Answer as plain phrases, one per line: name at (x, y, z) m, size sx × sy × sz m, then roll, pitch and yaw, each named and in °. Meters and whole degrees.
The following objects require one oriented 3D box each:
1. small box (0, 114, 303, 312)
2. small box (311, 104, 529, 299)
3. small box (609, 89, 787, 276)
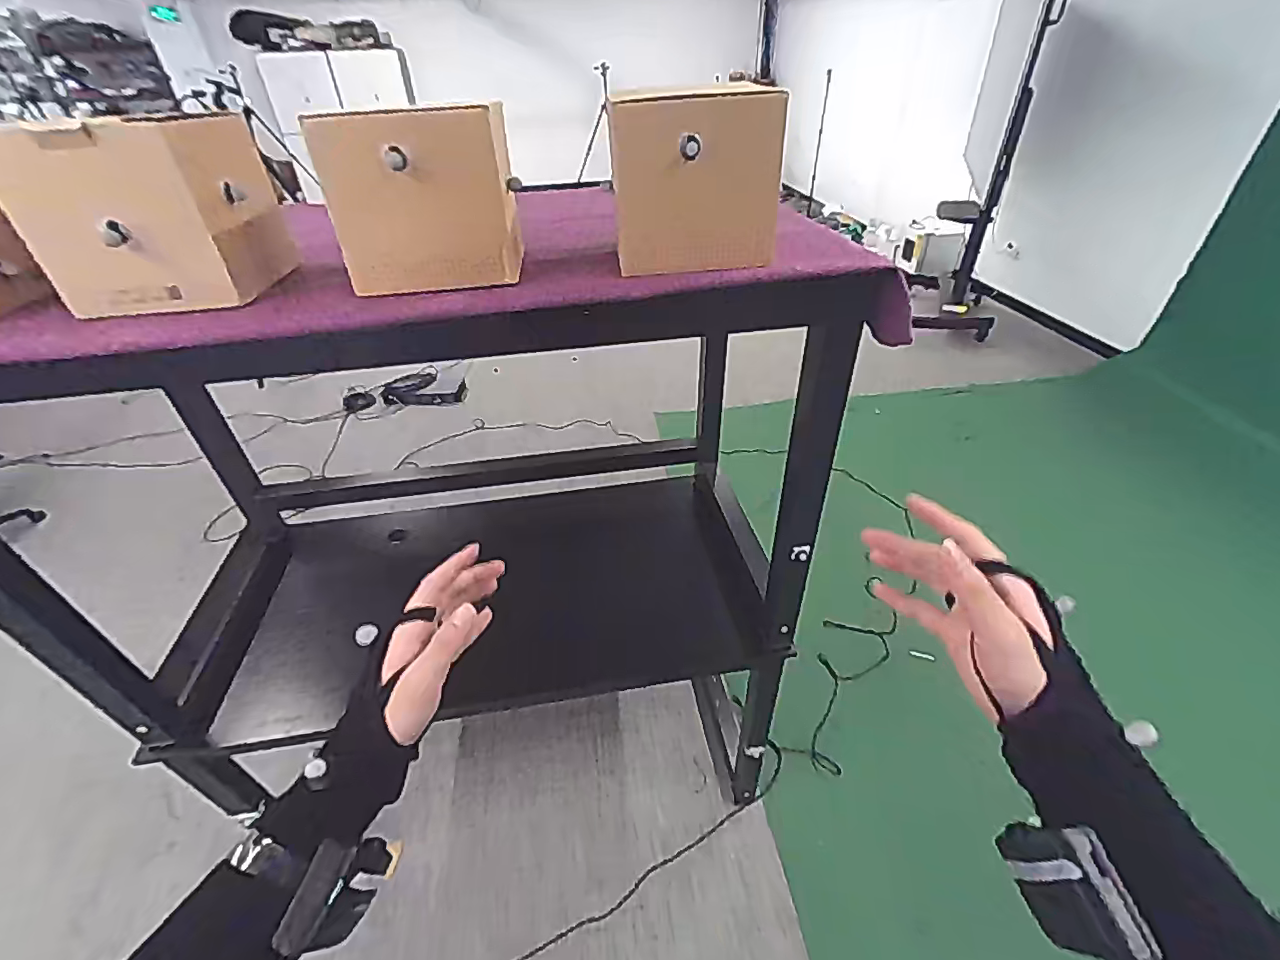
small box at (-0.505, -0.289, 0.590) m, size 0.168 × 0.176 × 0.179 m, roll -7°, pitch 37°, yaw -6°
small box at (-0.226, -0.320, 0.618) m, size 0.179 × 0.176 × 0.168 m, roll -7°, pitch 36°, yaw -4°
small box at (0.059, -0.350, 0.638) m, size 0.179 × 0.176 × 0.168 m, roll -5°, pitch 38°, yaw -2°
